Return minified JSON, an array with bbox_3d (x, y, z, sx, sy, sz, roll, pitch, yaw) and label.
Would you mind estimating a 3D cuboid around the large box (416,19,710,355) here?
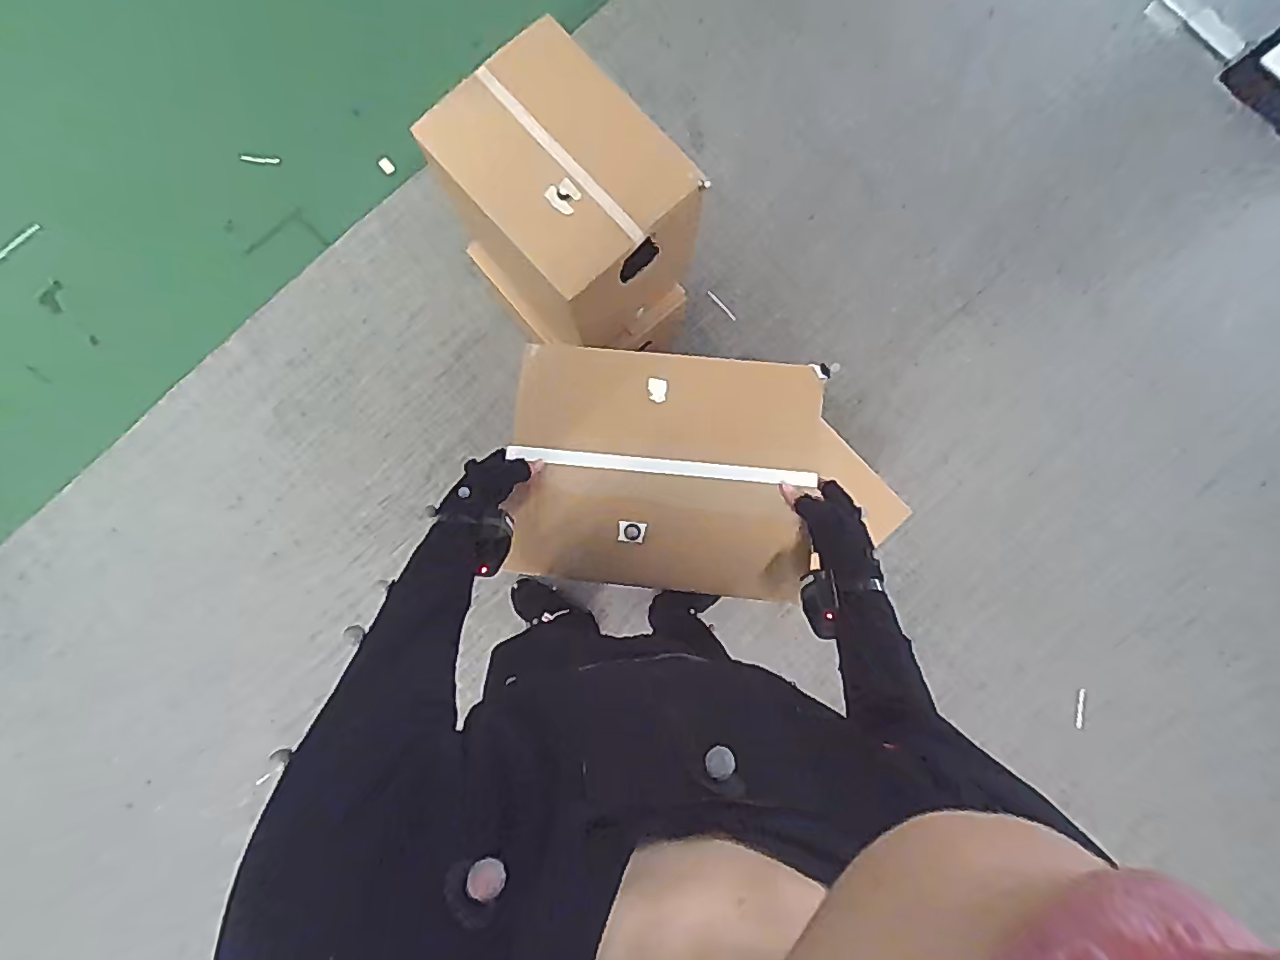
[{"bbox_3d":[-0.133,-0.524,1.037,0.320,0.320,0.408,-41,87,-5],"label":"large box"}]
